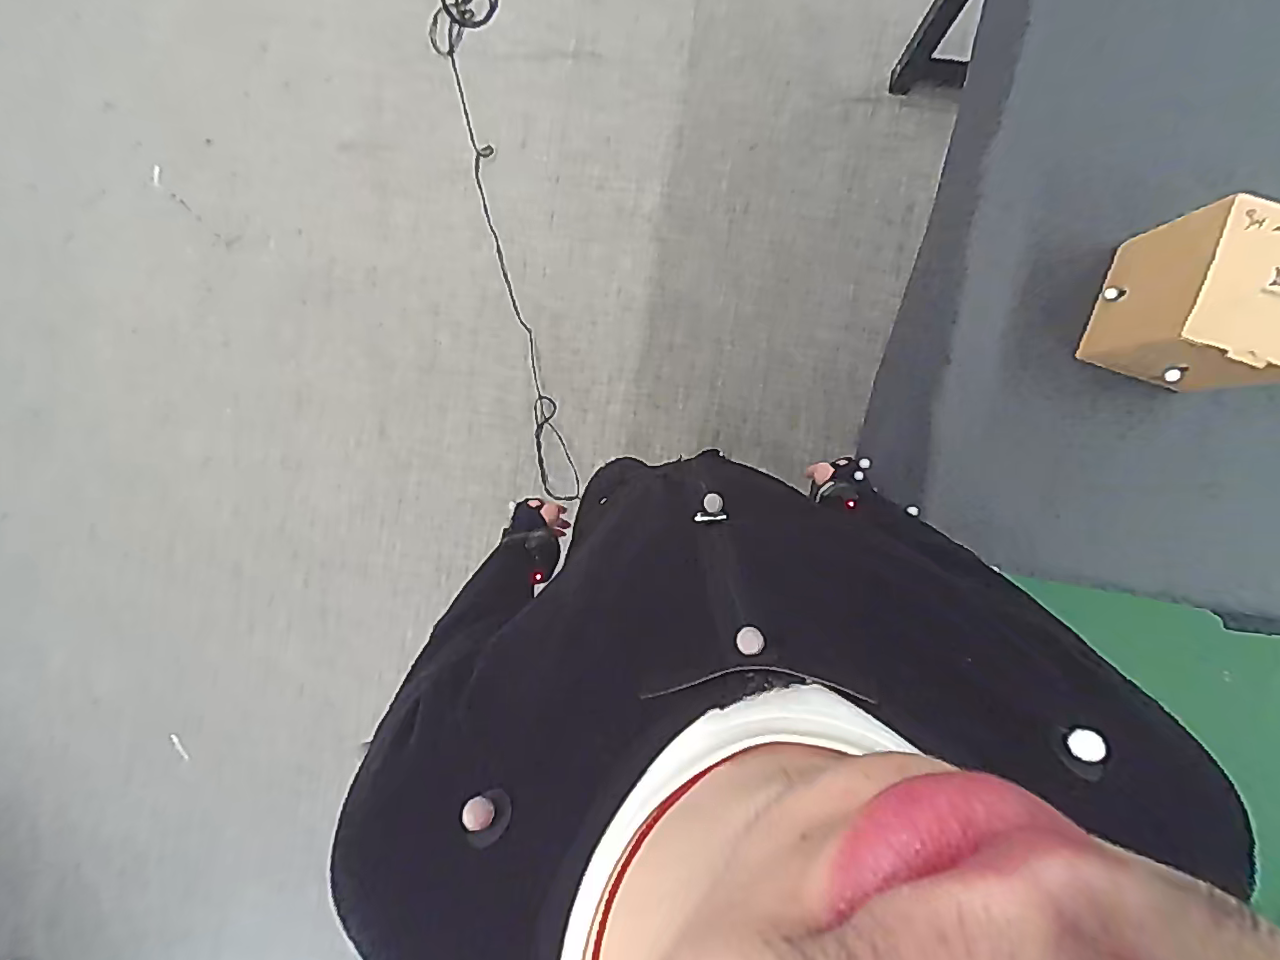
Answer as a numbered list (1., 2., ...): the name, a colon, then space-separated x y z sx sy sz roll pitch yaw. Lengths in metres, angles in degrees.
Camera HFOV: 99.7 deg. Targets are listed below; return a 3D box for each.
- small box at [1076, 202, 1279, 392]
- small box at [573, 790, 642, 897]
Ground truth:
1. small box: 0.735 -0.224 0.714 0.168 0.176 0.179 18 96 2
2. small box: -0.088 1.046 1.567 0.168 0.176 0.179 12 95 0
